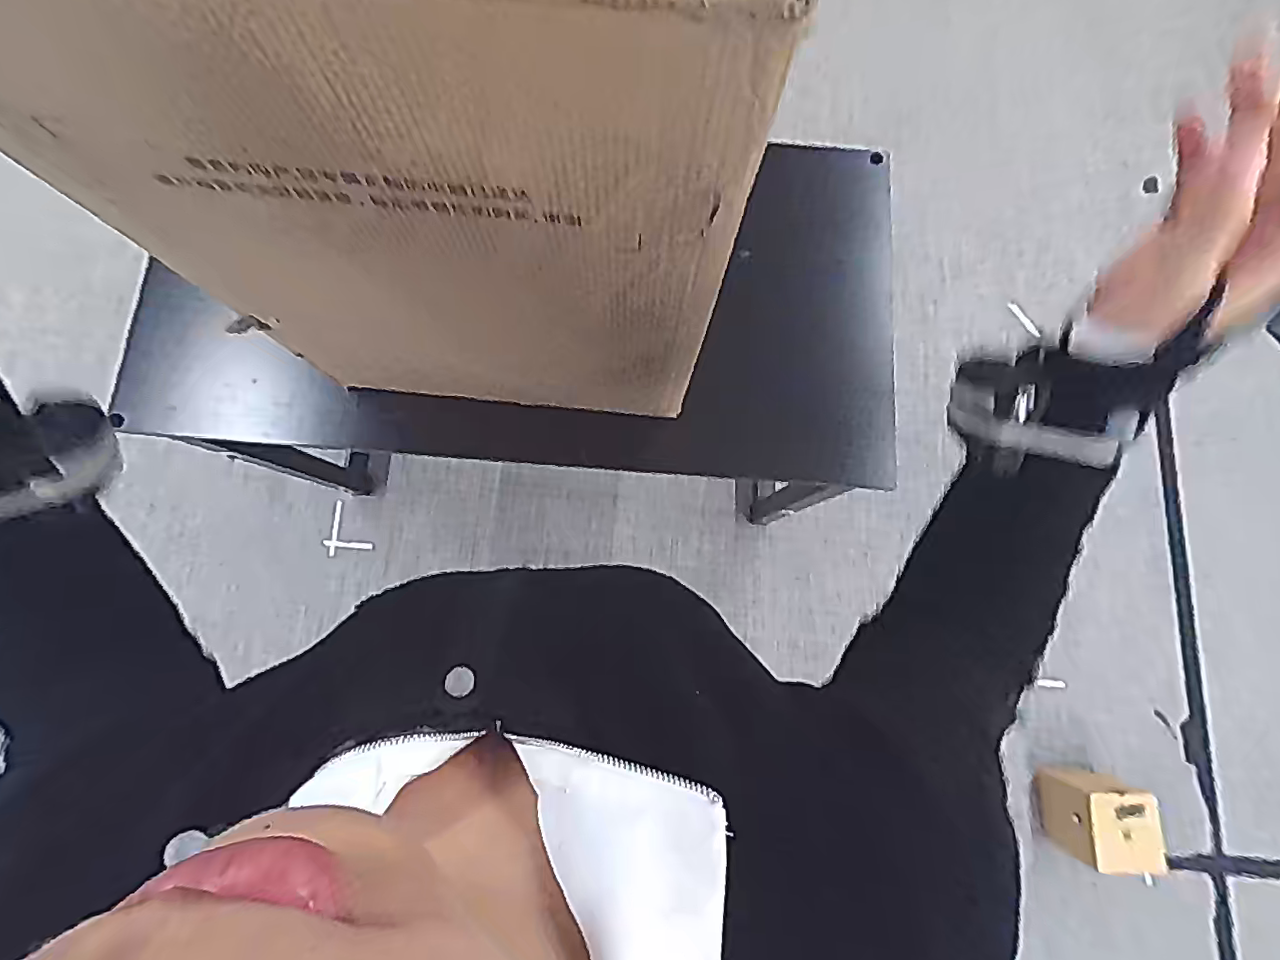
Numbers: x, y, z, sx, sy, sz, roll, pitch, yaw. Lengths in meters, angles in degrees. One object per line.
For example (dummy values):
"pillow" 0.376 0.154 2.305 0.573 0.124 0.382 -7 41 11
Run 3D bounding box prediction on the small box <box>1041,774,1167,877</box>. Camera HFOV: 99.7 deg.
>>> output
"small box" 1.149 0.856 1.355 0.168 0.176 0.179 1 80 -1
